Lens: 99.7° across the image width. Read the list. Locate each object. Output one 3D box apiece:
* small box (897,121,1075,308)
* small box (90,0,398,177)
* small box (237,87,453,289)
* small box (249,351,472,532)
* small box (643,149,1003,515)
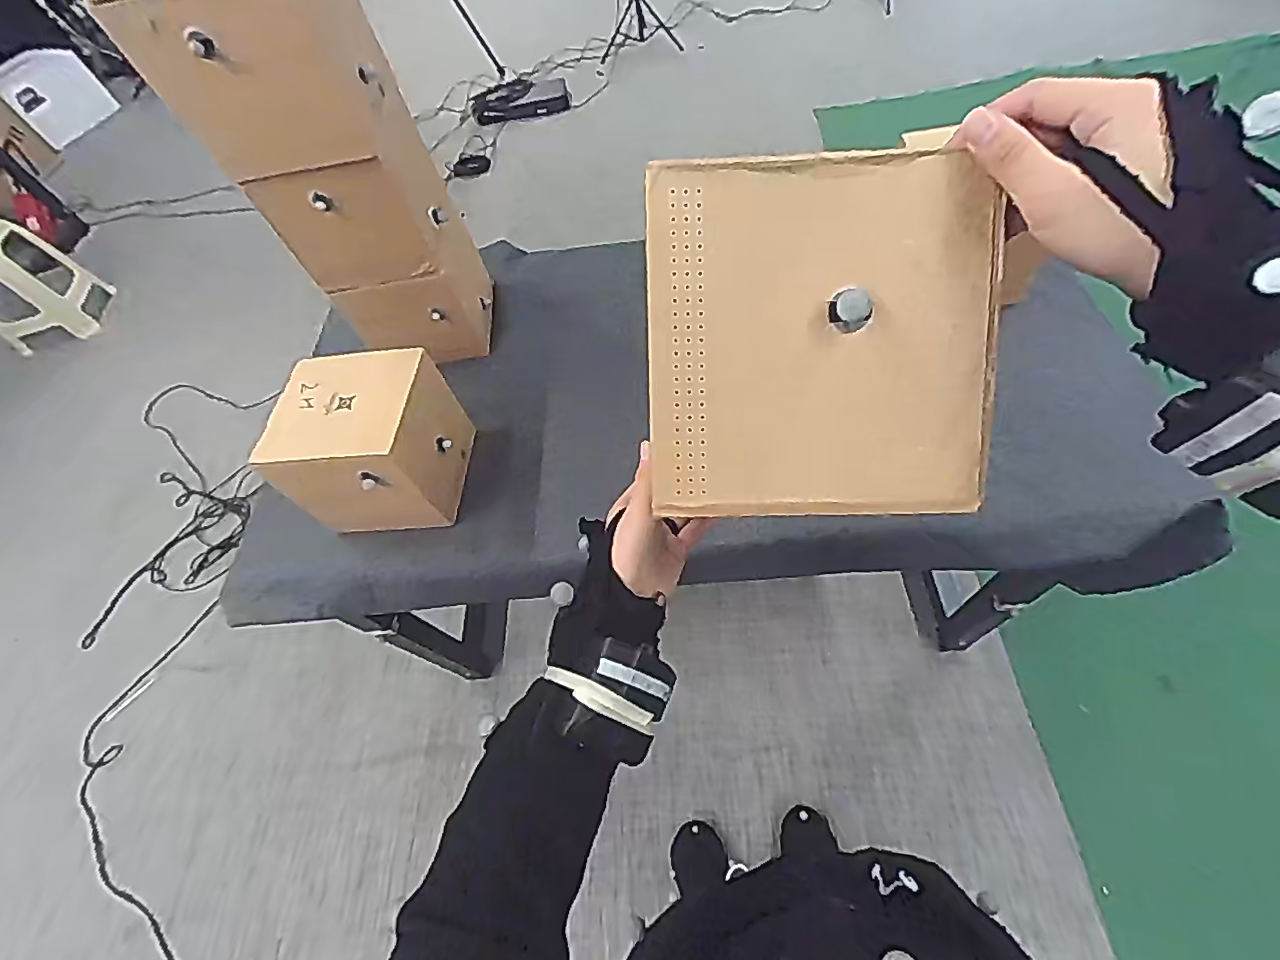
[{"bbox_3d":[0.447,-0.360,0.758,0.168,0.176,0.179,-4,61,8],"label":"small box"},{"bbox_3d":[-0.393,-0.452,0.575,0.179,0.176,0.168,-6,61,5],"label":"small box"},{"bbox_3d":[-0.374,-0.378,0.721,0.179,0.176,0.168,-8,61,3],"label":"small box"},{"bbox_3d":[-0.340,-0.043,0.702,0.179,0.176,0.168,-4,56,7],"label":"small box"},{"bbox_3d":[0.089,-0.077,0.341,0.176,0.168,0.179,0,98,4],"label":"small box"}]
